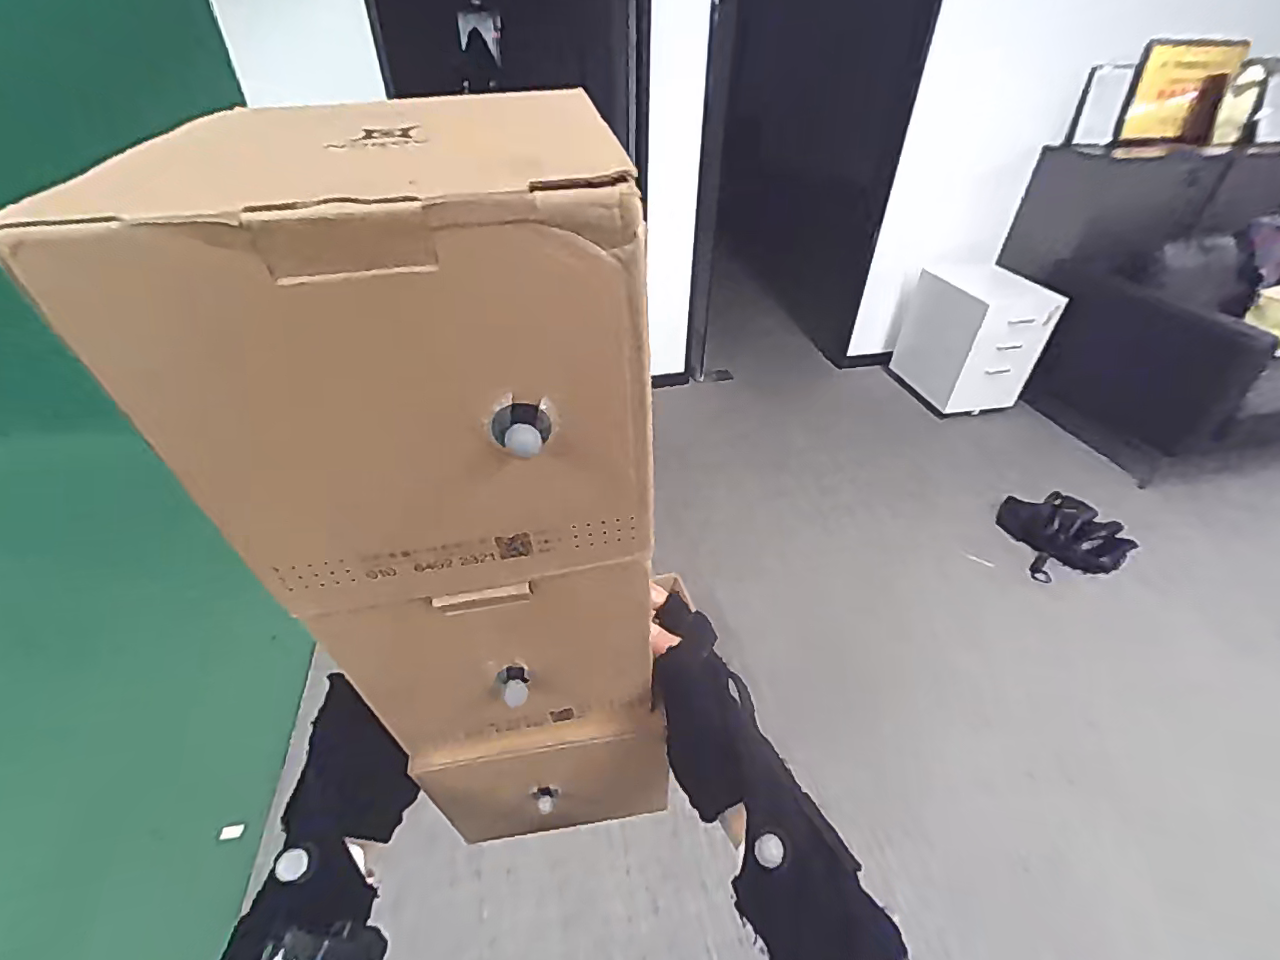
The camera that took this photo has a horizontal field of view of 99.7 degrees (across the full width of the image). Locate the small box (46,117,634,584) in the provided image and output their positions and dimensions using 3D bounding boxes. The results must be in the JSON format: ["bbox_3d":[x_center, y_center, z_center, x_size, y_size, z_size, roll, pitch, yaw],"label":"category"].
[{"bbox_3d":[-0.097,-0.064,0.272,0.168,0.176,0.179,-8,42,-7],"label":"small box"}]

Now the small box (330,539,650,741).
[{"bbox_3d":[-0.091,0.067,0.397,0.168,0.176,0.179,-10,42,-7],"label":"small box"}]

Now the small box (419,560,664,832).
[{"bbox_3d":[-0.076,0.195,0.494,0.179,0.176,0.168,-7,41,-4],"label":"small box"}]
